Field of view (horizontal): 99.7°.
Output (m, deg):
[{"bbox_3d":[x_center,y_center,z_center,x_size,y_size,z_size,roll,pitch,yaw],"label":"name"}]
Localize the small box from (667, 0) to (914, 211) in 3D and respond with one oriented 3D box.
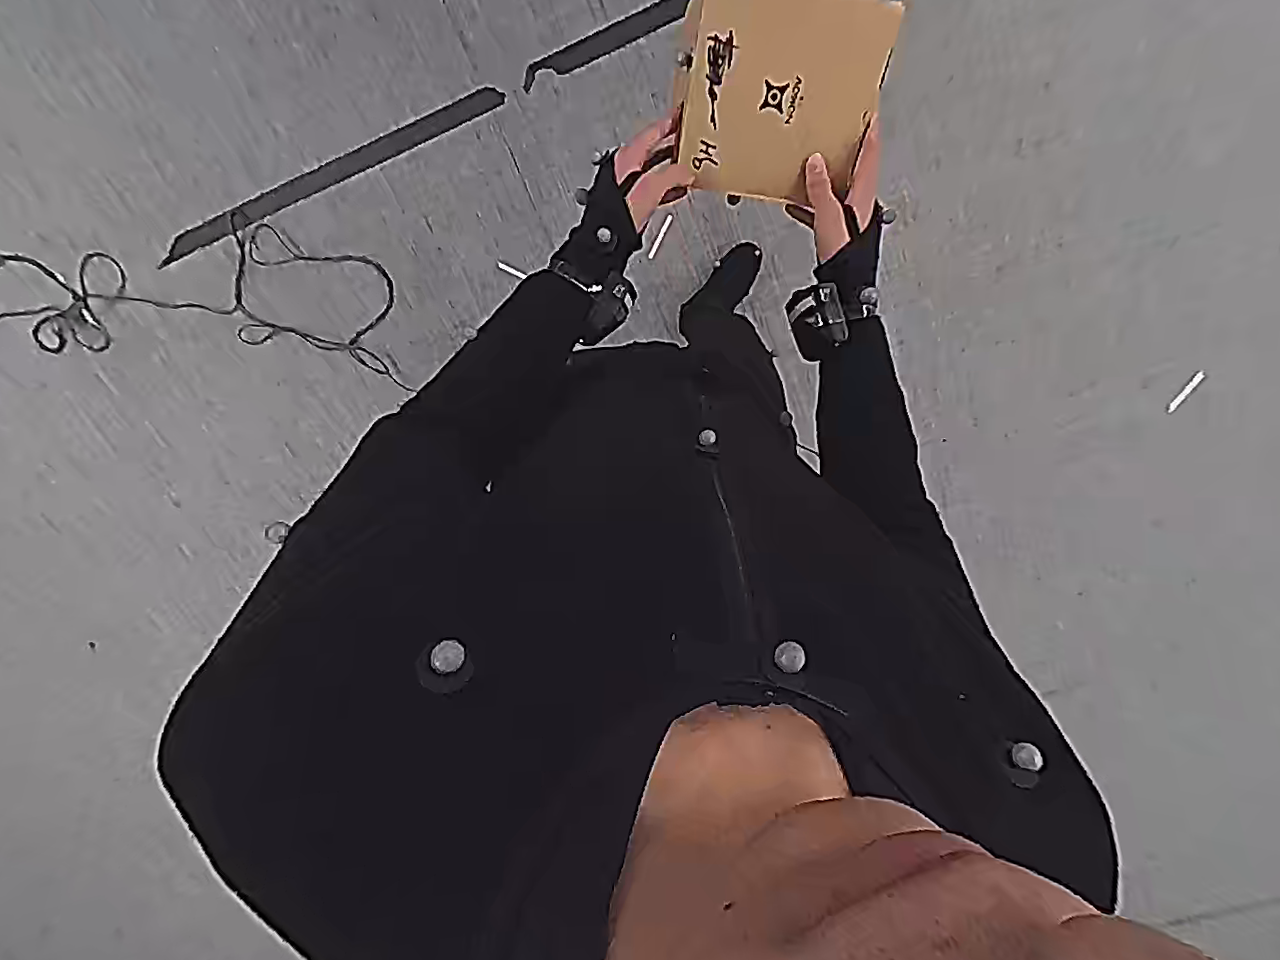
[{"bbox_3d":[0.132,-0.392,0.556,0.179,0.176,0.168,7,122,-7],"label":"small box"}]
